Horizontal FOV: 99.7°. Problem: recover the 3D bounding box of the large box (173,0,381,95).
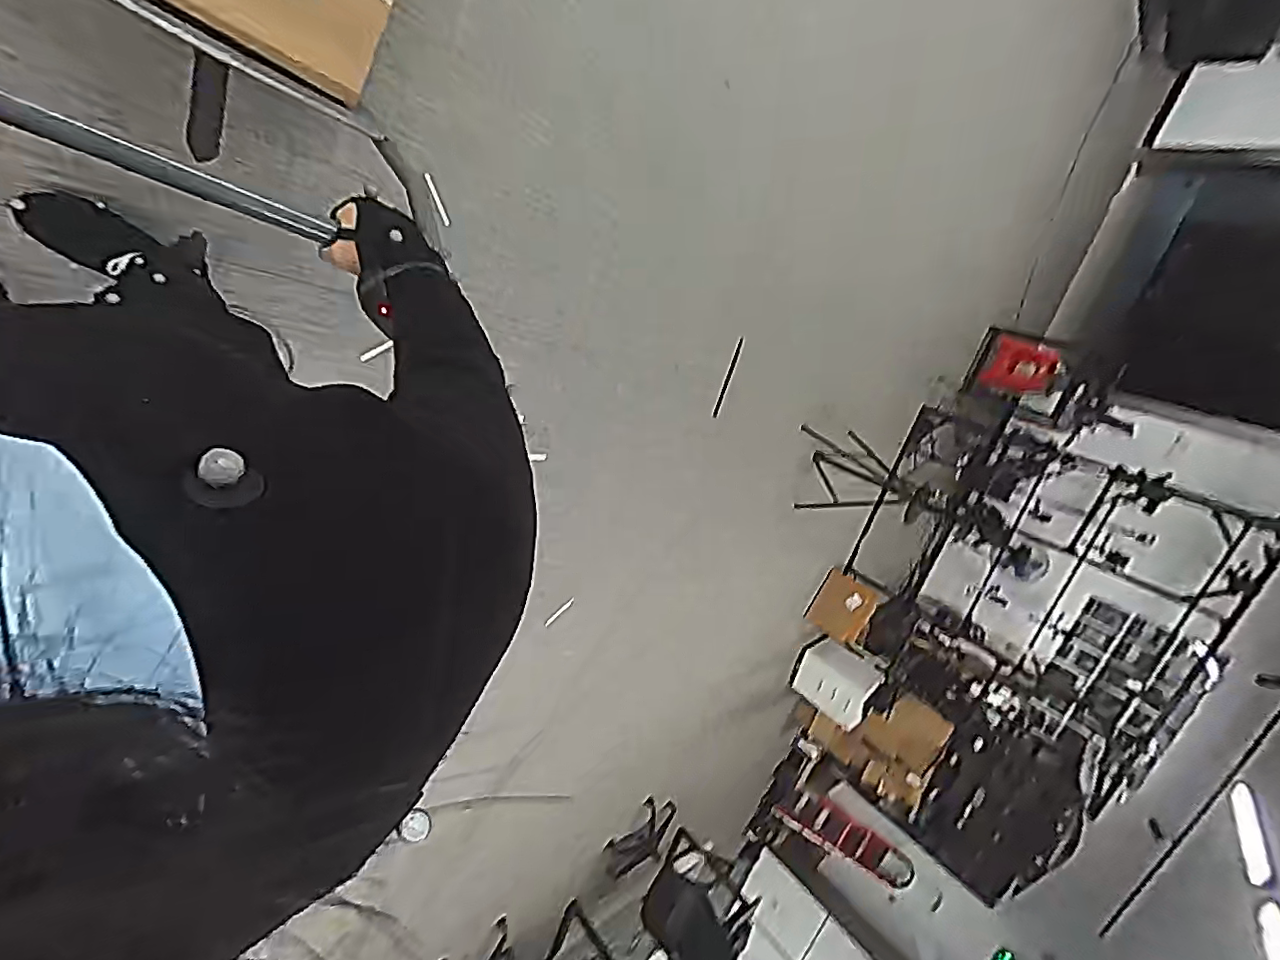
[{"bbox_3d":[-0.576,-0.807,0.698,0.408,0.320,0.320,6,125,-49],"label":"large box"}]
